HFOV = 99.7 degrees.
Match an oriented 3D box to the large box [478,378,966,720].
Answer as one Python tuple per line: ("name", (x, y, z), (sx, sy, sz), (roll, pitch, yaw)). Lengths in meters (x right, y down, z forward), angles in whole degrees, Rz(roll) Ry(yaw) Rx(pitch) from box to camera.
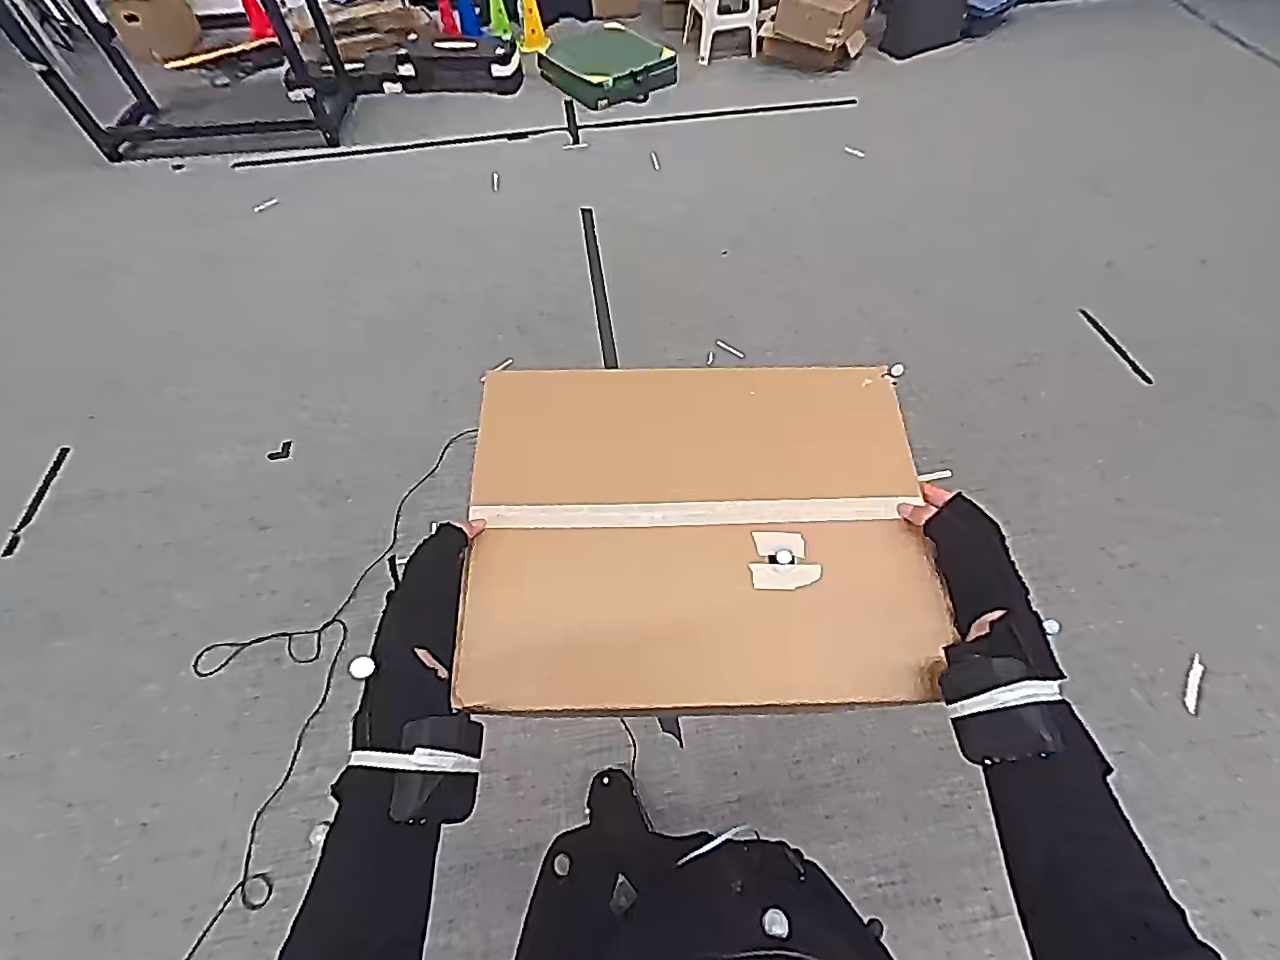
("large box", (0.058, 0.100, 0.626), (0.408, 0.320, 0.320), (-1, 66, -2))
